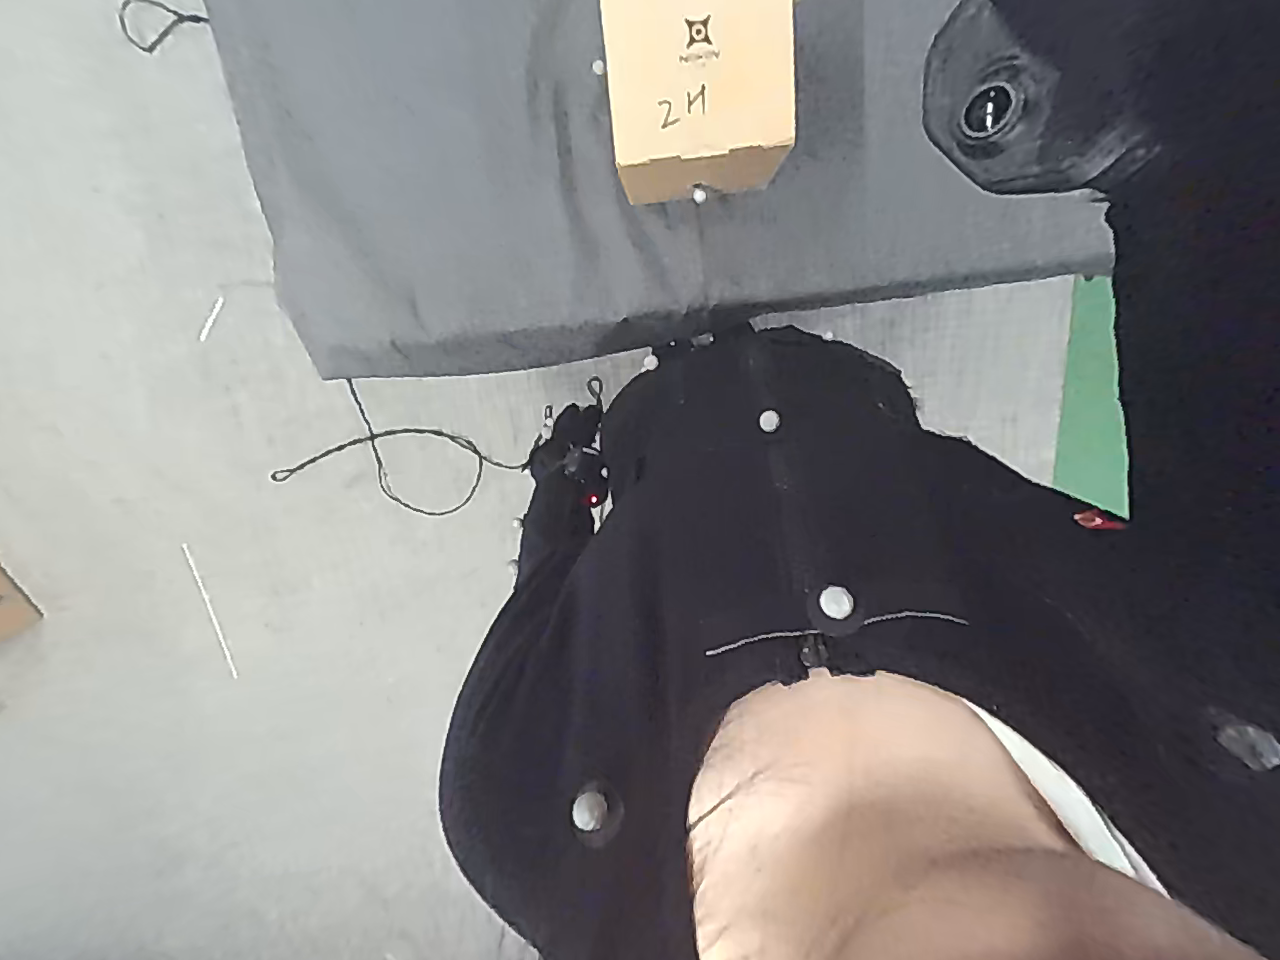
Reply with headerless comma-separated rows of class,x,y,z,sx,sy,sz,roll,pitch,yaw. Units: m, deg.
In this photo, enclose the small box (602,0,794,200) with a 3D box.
small box,0.056,-0.405,0.547,0.168,0.176,0.179,-4,106,6
